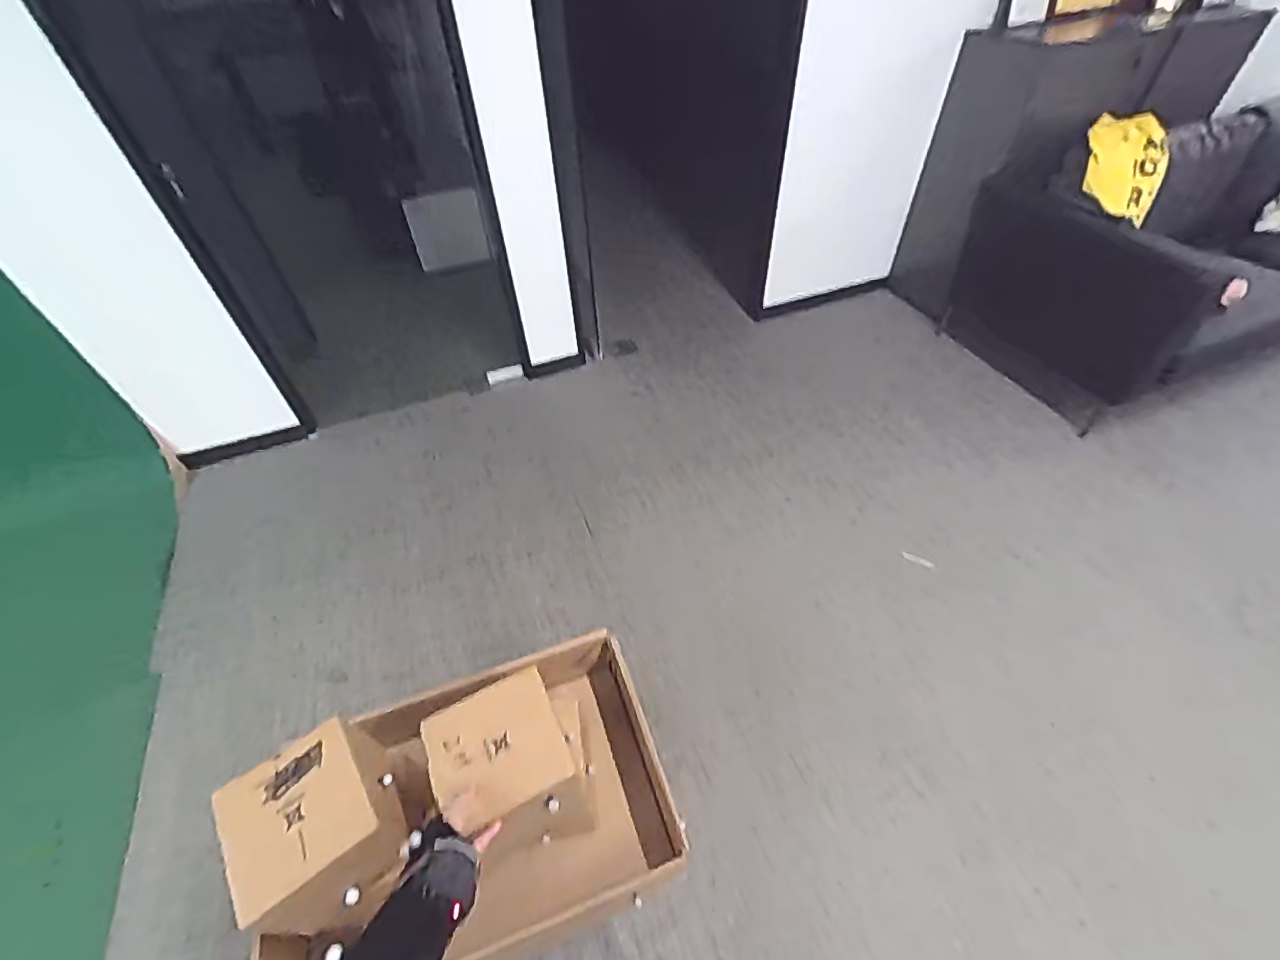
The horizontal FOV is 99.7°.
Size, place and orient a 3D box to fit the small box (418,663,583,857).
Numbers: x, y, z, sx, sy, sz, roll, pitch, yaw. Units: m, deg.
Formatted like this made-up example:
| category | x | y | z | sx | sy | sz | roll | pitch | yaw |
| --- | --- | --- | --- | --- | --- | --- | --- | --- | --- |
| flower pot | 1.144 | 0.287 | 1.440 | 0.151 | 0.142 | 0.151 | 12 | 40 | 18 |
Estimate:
| category | x | y | z | sx | sy | sz | roll | pitch | yaw |
| --- | --- | --- | --- | --- | --- | --- | --- | --- | --- |
| small box | -0.191 | 0.403 | 0.779 | 0.179 | 0.176 | 0.168 | -23 | 49 | -16 |

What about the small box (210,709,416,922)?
| category | x | y | z | sx | sy | sz | roll | pitch | yaw |
| --- | --- | --- | --- | --- | --- | --- | --- | --- | --- |
| small box | -0.437 | 0.460 | 0.740 | 0.168 | 0.176 | 0.179 | -31 | 54 | -22 |

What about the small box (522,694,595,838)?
| category | x | y | z | sx | sy | sz | roll | pitch | yaw |
| --- | --- | --- | --- | --- | --- | --- | --- | --- | --- |
| small box | -0.173 | 0.492 | 0.921 | 0.168 | 0.176 | 0.179 | -9 | 49 | -5 |
